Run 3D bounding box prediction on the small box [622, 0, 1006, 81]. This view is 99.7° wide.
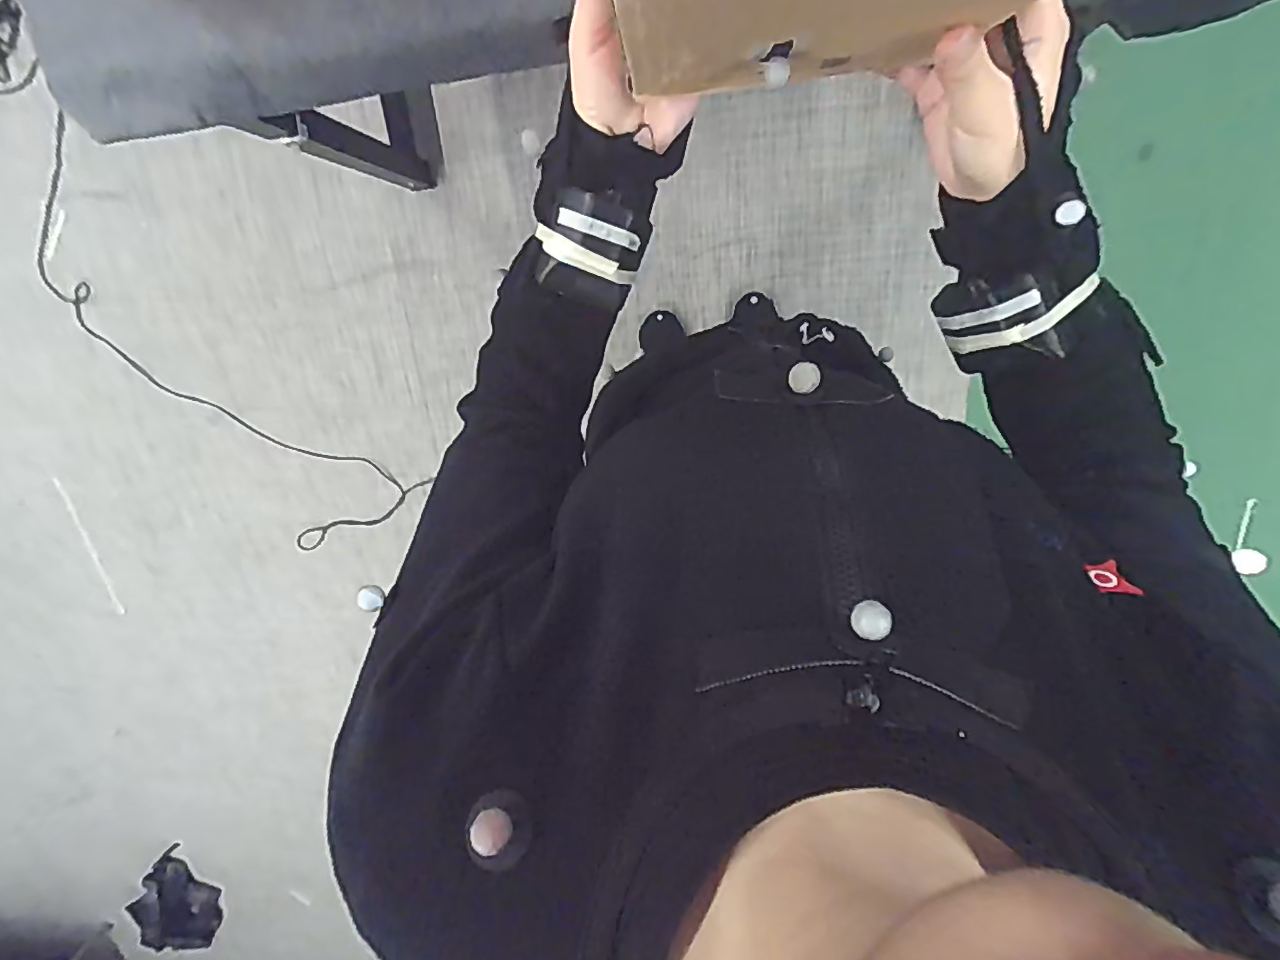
[{"bbox_3d":[0.066,-0.262,0.176,0.168,0.176,0.179,-5,117,4],"label":"small box"}]
